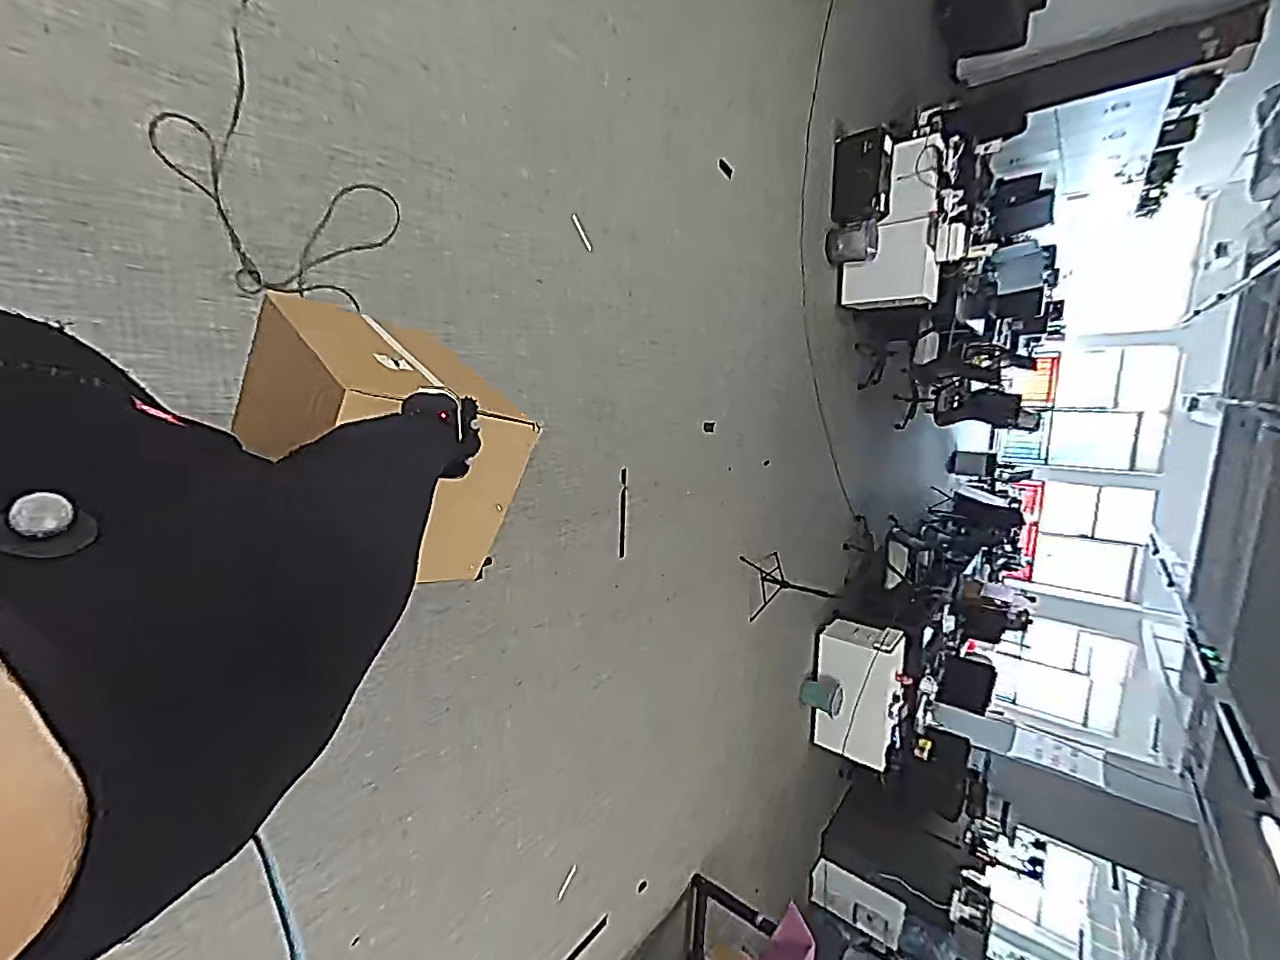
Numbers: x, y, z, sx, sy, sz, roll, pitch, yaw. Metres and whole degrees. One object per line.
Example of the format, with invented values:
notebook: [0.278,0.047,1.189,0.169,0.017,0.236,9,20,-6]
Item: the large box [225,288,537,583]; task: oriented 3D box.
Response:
large box: [-0.461,-0.075,0.941,0.320,0.408,0.320,6,118,-51]
